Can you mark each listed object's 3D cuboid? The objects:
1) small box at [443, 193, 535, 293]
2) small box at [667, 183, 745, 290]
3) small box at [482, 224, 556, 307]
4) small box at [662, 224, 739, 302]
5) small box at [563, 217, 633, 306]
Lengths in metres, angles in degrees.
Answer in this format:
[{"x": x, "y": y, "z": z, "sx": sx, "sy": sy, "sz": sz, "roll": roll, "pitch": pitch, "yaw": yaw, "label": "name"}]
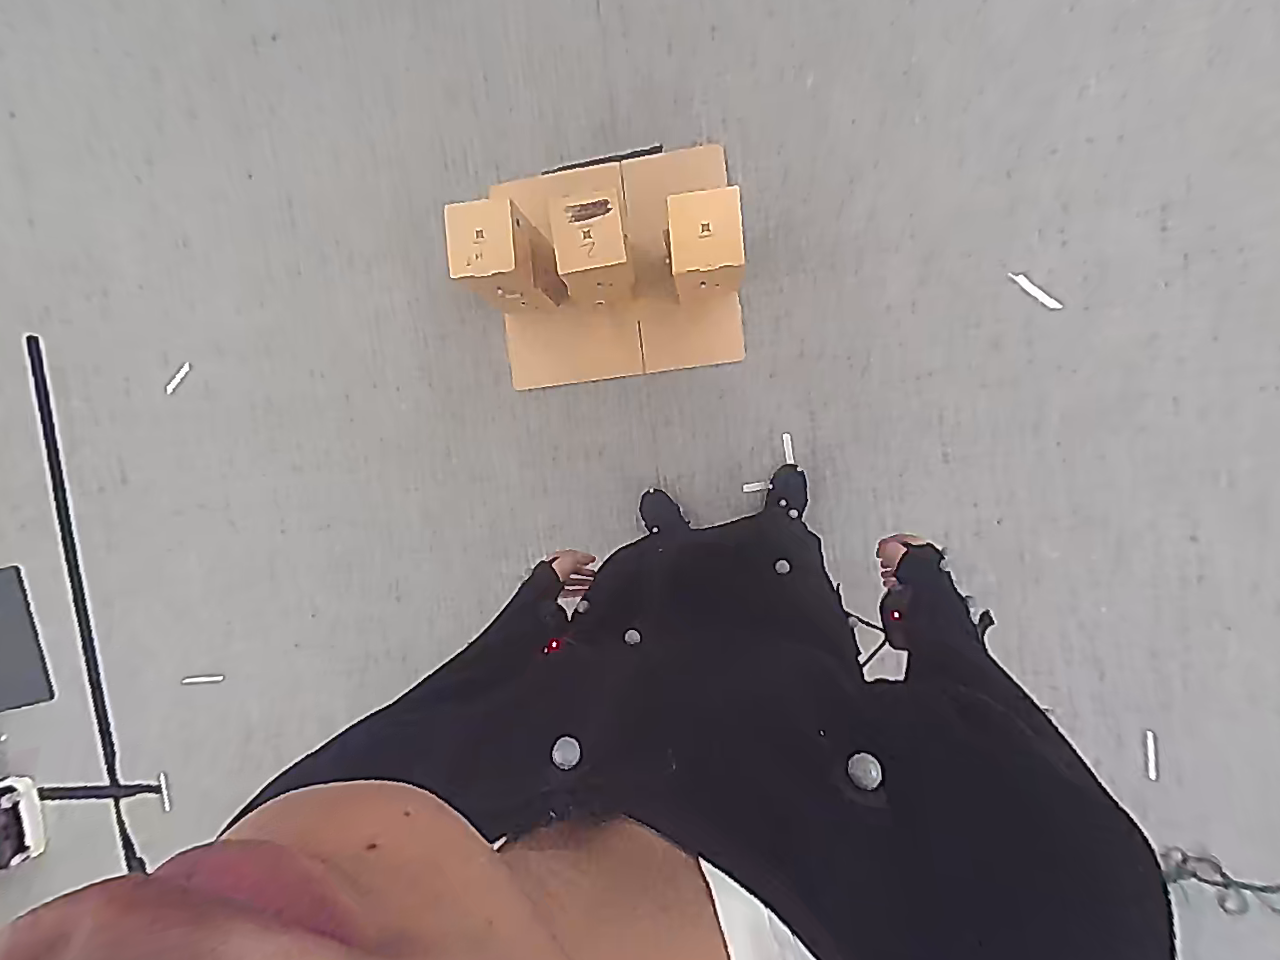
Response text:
[{"x": -0.370, "y": -0.581, "z": 1.345, "sx": 0.168, "sy": 0.176, "sz": 0.179, "roll": -3, "pitch": 94, "yaw": 8, "label": "small box"}, {"x": 0.155, "y": -0.572, "z": 1.288, "sx": 0.168, "sy": 0.176, "sz": 0.179, "roll": -5, "pitch": 95, "yaw": 7, "label": "small box"}, {"x": -0.339, "y": -0.588, "z": 1.508, "sx": 0.168, "sy": 0.176, "sz": 0.179, "roll": -4, "pitch": 95, "yaw": 7, "label": "small box"}, {"x": 0.167, "y": -0.596, "z": 1.449, "sx": 0.179, "sy": 0.176, "sz": 0.168, "roll": -15, "pitch": 93, "yaw": 7, "label": "small box"}, {"x": -0.110, "y": -0.592, "z": 1.481, "sx": 0.168, "sy": 0.176, "sz": 0.179, "roll": -3, "pitch": 94, "yaw": 6, "label": "small box"}]
